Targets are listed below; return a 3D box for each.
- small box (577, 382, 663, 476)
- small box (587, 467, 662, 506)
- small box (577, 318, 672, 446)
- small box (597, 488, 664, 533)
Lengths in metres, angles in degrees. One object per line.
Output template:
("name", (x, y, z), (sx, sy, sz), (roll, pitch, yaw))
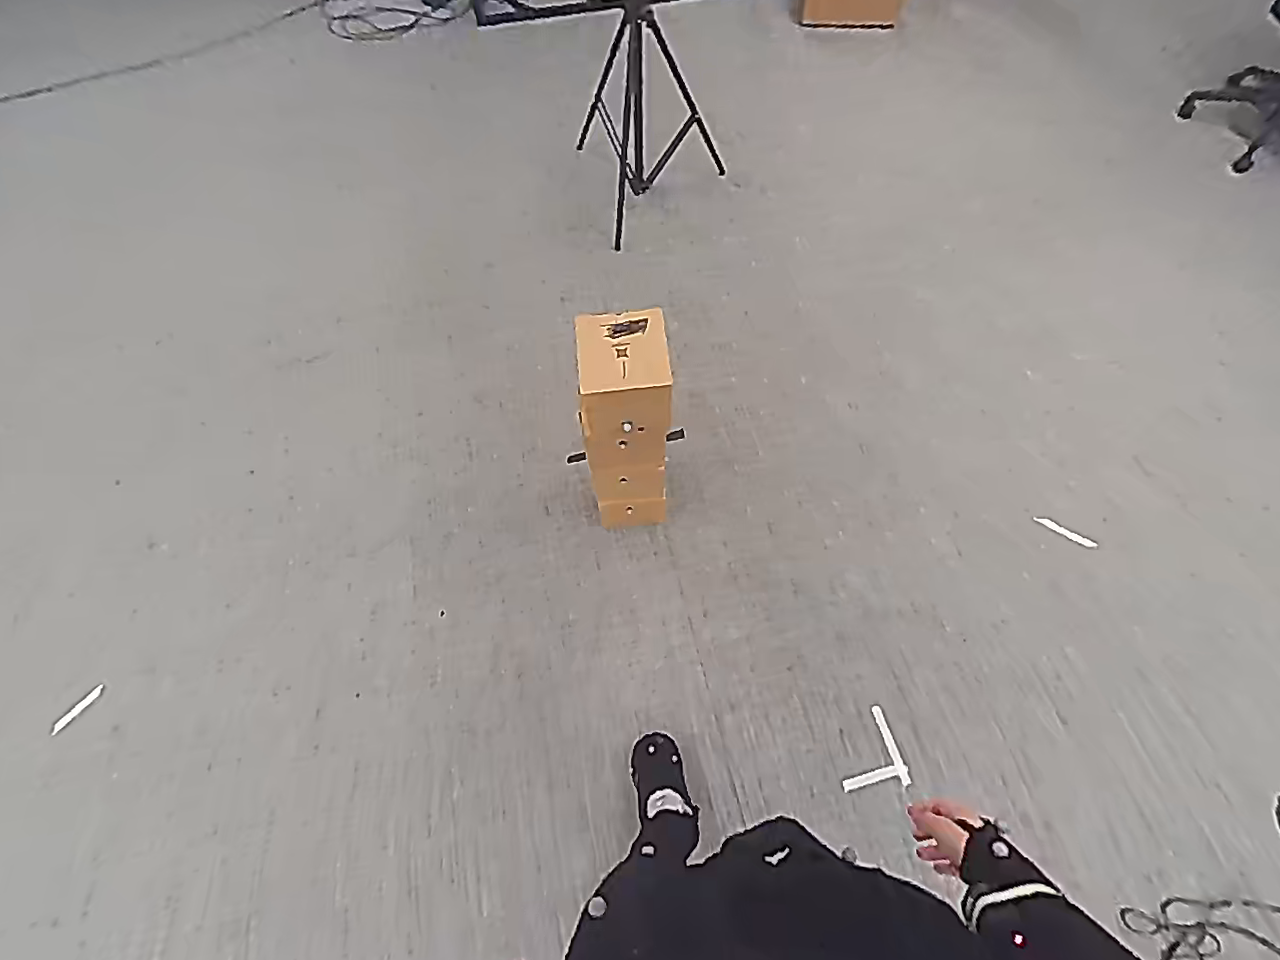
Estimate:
("small box", (-0.041, -0.118, 1.204), (0.179, 0.176, 0.168), (-5, 65, -2))
("small box", (-0.036, -0.041, 1.347), (0.179, 0.176, 0.168), (-3, 65, 0))
("small box", (-0.031, -0.187, 1.055), (0.168, 0.176, 0.179), (-6, 66, -1))
("small box", (-0.030, 0.037, 1.492), (0.179, 0.176, 0.168), (-6, 65, -1))
